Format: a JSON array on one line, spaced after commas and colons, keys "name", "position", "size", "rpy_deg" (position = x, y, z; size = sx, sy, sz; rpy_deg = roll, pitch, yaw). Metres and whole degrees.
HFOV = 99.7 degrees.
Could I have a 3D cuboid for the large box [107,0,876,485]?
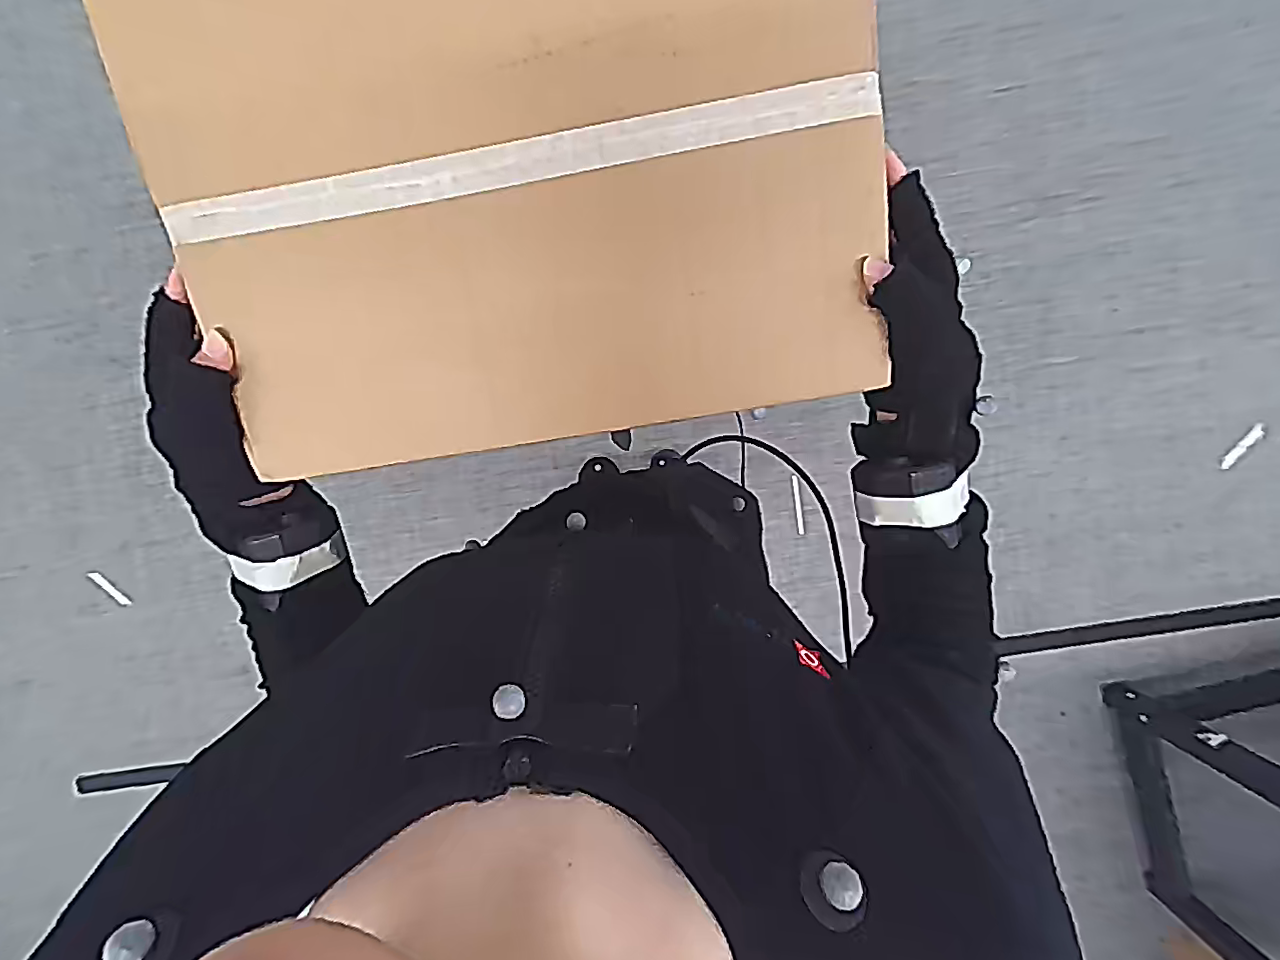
[{"name": "large box", "position": [-0.068, -0.214, 0.455], "size": [0.408, 0.320, 0.320], "rpy_deg": [-9, 104, 4]}]
